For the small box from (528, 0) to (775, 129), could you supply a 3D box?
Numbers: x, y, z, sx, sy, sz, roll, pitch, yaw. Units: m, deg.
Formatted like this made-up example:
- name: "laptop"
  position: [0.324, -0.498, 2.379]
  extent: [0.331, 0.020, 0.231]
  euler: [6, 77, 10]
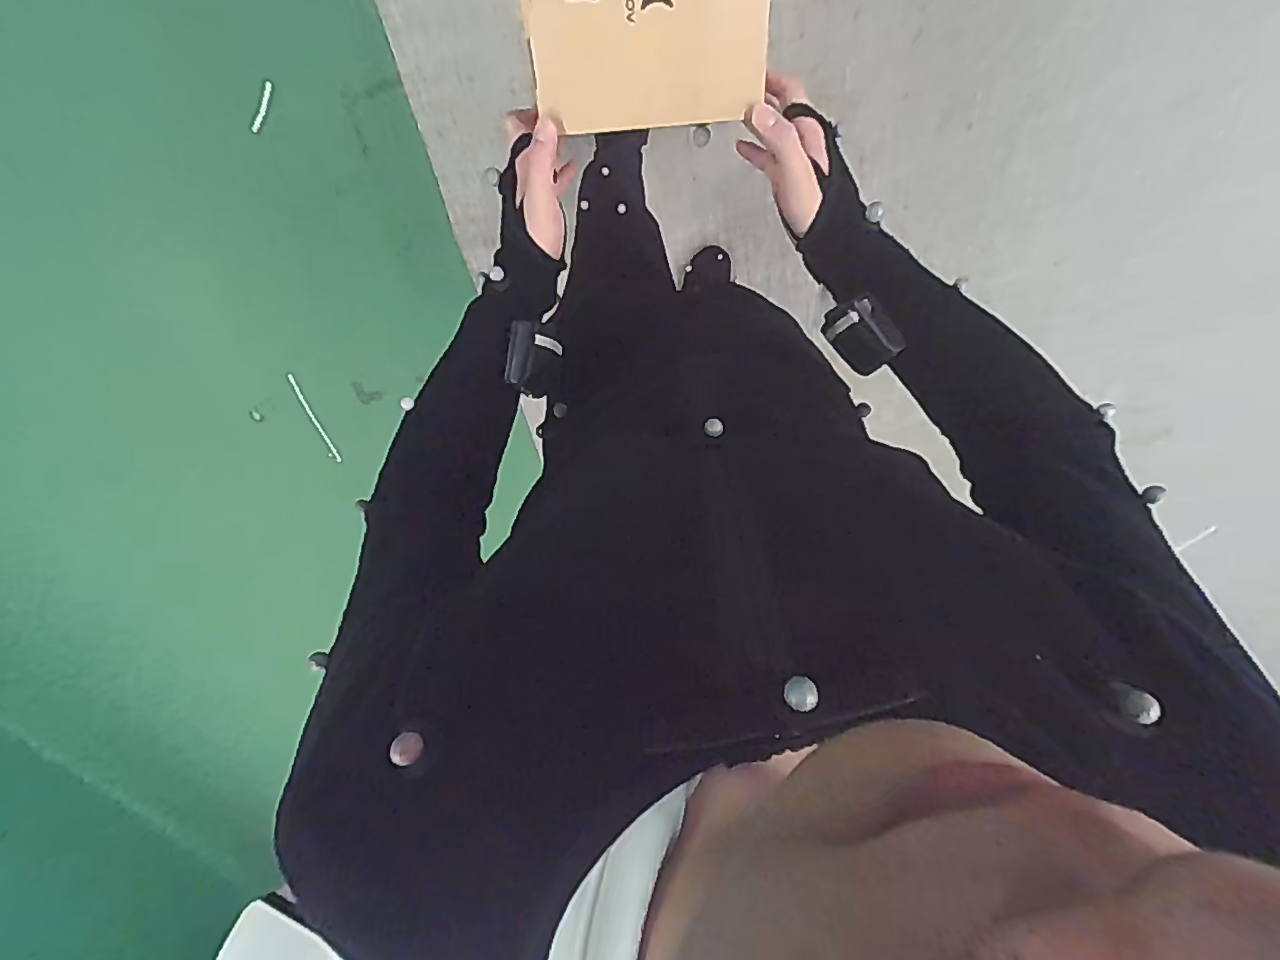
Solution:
- name: "small box"
  position: [0.010, -0.391, 0.436]
  extent: [0.179, 0.176, 0.168]
  euler: [-1, 126, 5]
